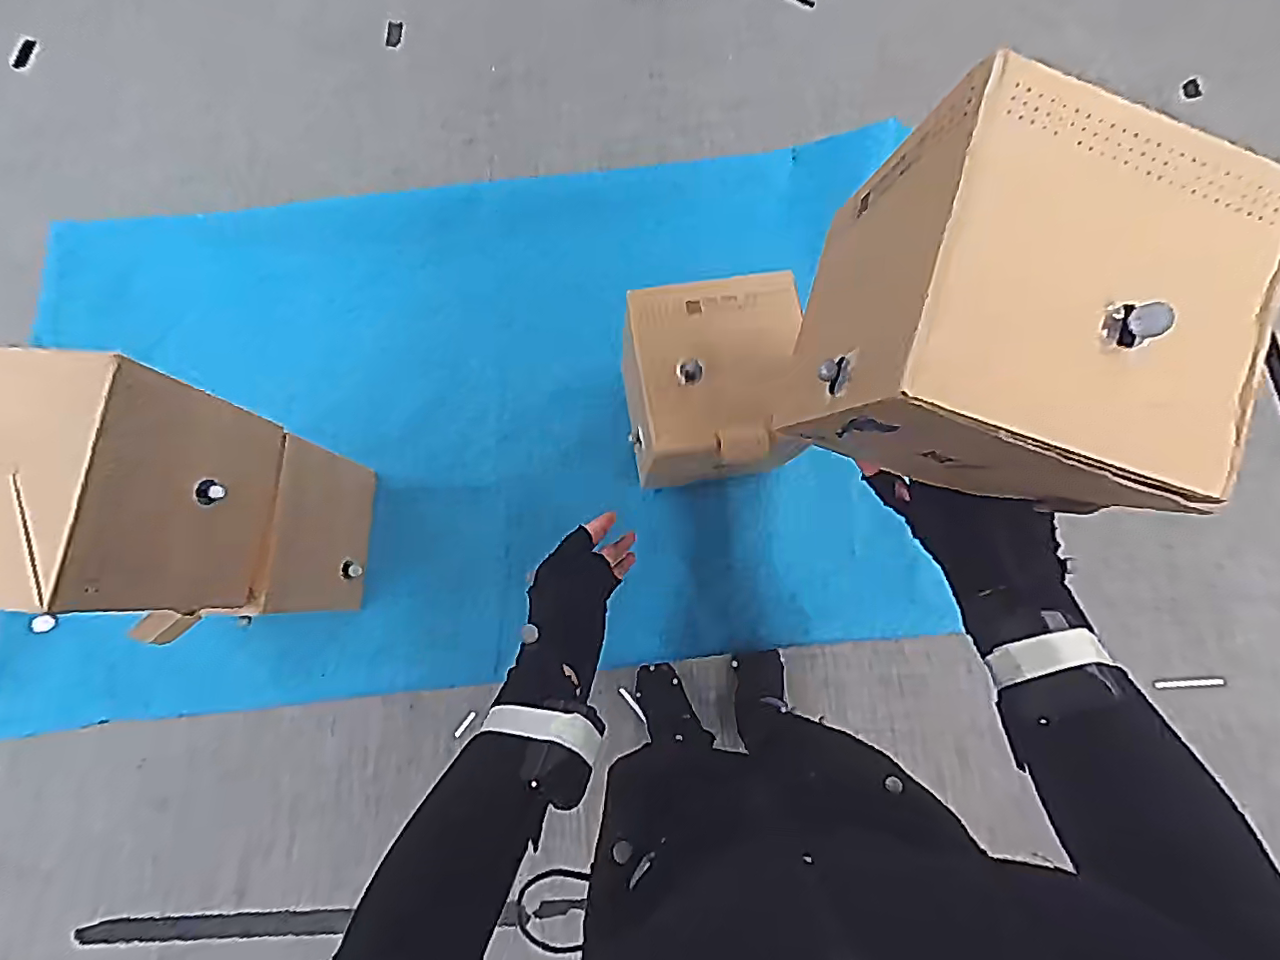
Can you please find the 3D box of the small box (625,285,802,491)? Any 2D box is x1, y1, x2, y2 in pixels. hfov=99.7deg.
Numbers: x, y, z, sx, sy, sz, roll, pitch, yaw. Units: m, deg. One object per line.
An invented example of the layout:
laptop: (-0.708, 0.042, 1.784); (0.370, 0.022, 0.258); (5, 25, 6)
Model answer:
small box: (0.078, -0.098, 0.595); (0.168, 0.179, 0.176); (-7, 77, -6)

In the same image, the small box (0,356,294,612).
small box: (-0.430, 0.014, 0.440); (0.168, 0.176, 0.179); (3, 79, 4)

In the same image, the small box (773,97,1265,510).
small box: (0.212, -0.088, 0.337); (0.179, 0.168, 0.176); (16, 87, -6)

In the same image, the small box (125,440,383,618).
small box: (-0.414, 0.061, 0.598); (0.168, 0.176, 0.179); (-1, 78, 2)
